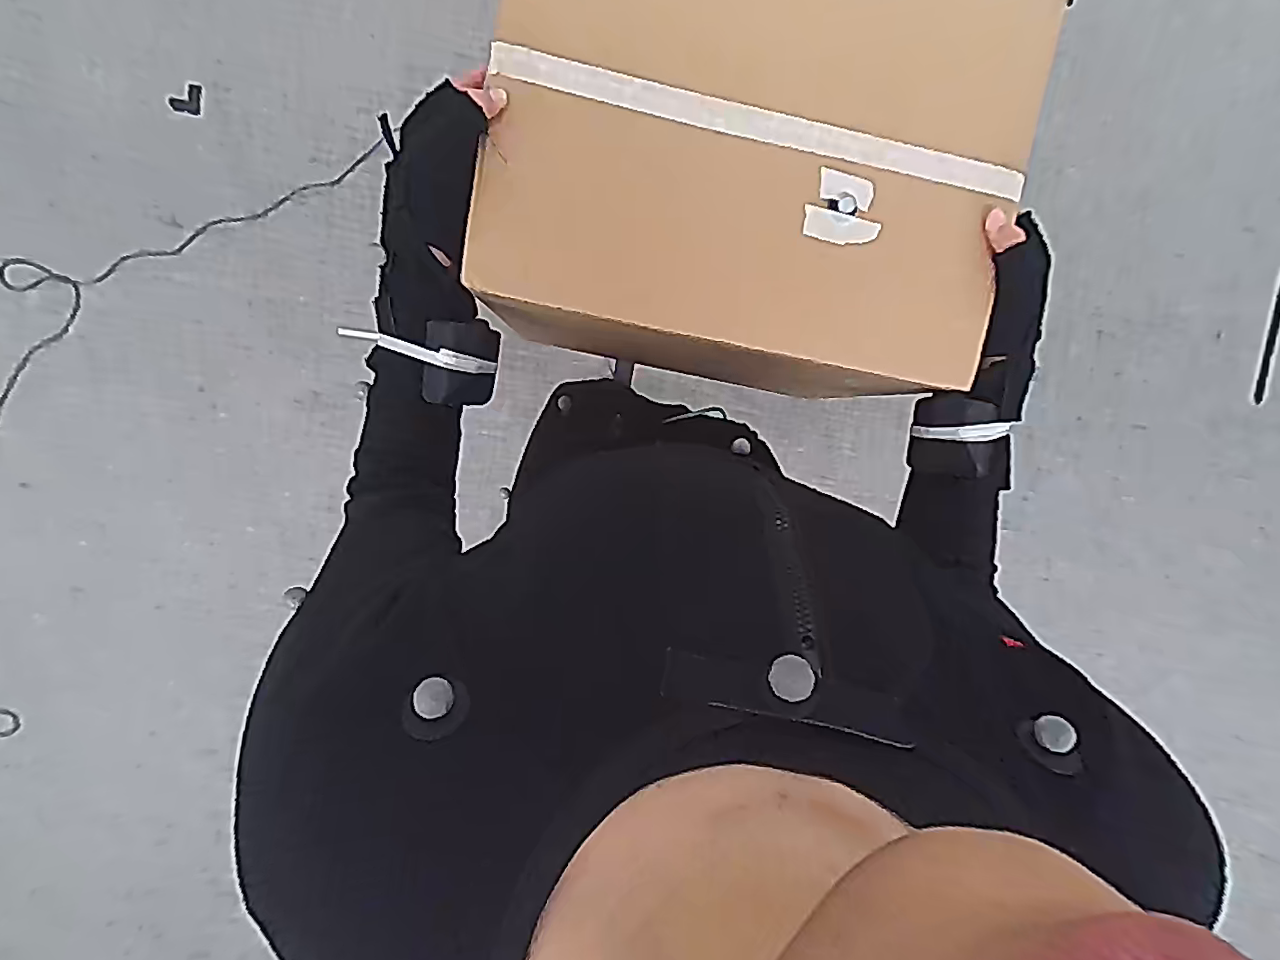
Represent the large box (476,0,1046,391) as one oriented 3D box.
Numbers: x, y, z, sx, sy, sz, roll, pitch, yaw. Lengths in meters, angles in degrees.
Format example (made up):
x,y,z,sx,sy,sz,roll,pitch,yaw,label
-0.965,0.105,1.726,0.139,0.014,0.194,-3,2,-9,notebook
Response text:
x,y,z,sx,sy,sz,roll,pitch,yaw,label
0.079,-0.280,0.556,0.408,0.320,0.320,10,98,-7,large box
